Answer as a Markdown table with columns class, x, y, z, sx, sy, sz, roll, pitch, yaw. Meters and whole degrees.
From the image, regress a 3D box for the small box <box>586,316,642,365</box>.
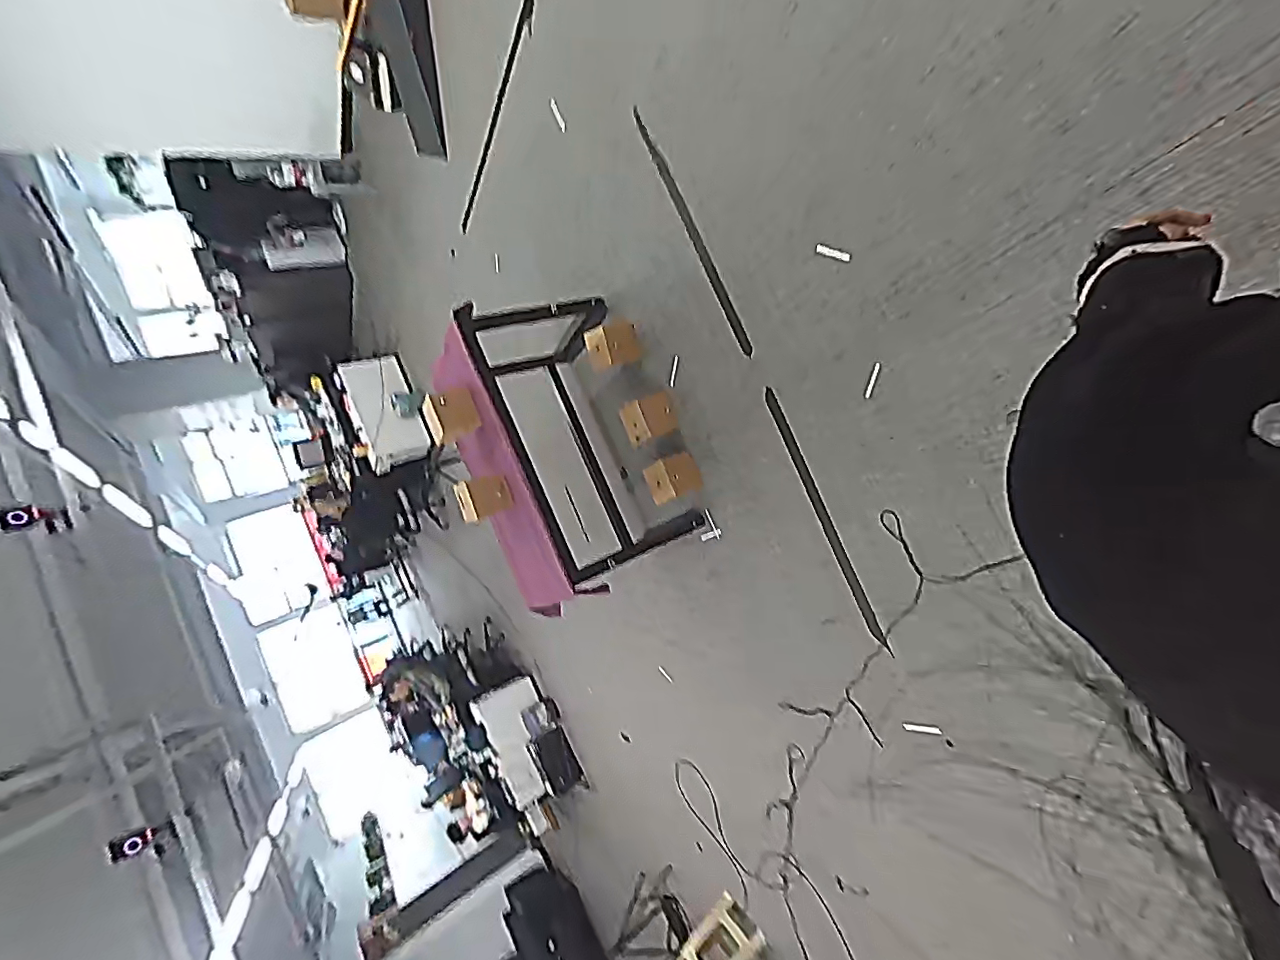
| class | x | y | z | sx | sy | sz | roll | pitch | yaw |
| --- | --- | --- | --- | --- | --- | --- | --- | --- | --- |
| small box | -0.118 | -0.641 | 2.467 | 0.168 | 0.176 | 0.179 | 0 | 110 | 55 |

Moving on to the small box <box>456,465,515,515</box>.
| class | x | y | z | sx | sy | sz | roll | pitch | yaw |
| --- | --- | --- | --- | --- | --- | --- | --- | --- | --- |
| small box | -0.651 | 0.043 | 2.284 | 0.179 | 0.176 | 0.168 | -9 | 101 | 56 |

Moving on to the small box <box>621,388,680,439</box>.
| class | x | y | z | sx | sy | sz | roll | pitch | yaw |
| --- | --- | --- | --- | --- | --- | --- | --- | --- | --- |
| small box | 0.050 | -0.303 | 2.419 | 0.168 | 0.176 | 0.179 | -22 | 89 | 57 |

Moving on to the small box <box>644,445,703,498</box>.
| class | x | y | z | sx | sy | sz | roll | pitch | yaw |
| --- | --- | --- | --- | --- | --- | --- | --- | --- | --- |
| small box | 0.154 | -0.040 | 2.422 | 0.168 | 0.176 | 0.179 | -27 | 85 | 56 |

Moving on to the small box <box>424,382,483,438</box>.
| class | x | y | z | sx | sy | sz | roll | pitch | yaw |
| --- | --- | --- | --- | --- | --- | --- | --- | --- | --- |
| small box | -0.788 | -0.300 | 2.282 | 0.168 | 0.176 | 0.179 | -27 | 86 | 58 |
